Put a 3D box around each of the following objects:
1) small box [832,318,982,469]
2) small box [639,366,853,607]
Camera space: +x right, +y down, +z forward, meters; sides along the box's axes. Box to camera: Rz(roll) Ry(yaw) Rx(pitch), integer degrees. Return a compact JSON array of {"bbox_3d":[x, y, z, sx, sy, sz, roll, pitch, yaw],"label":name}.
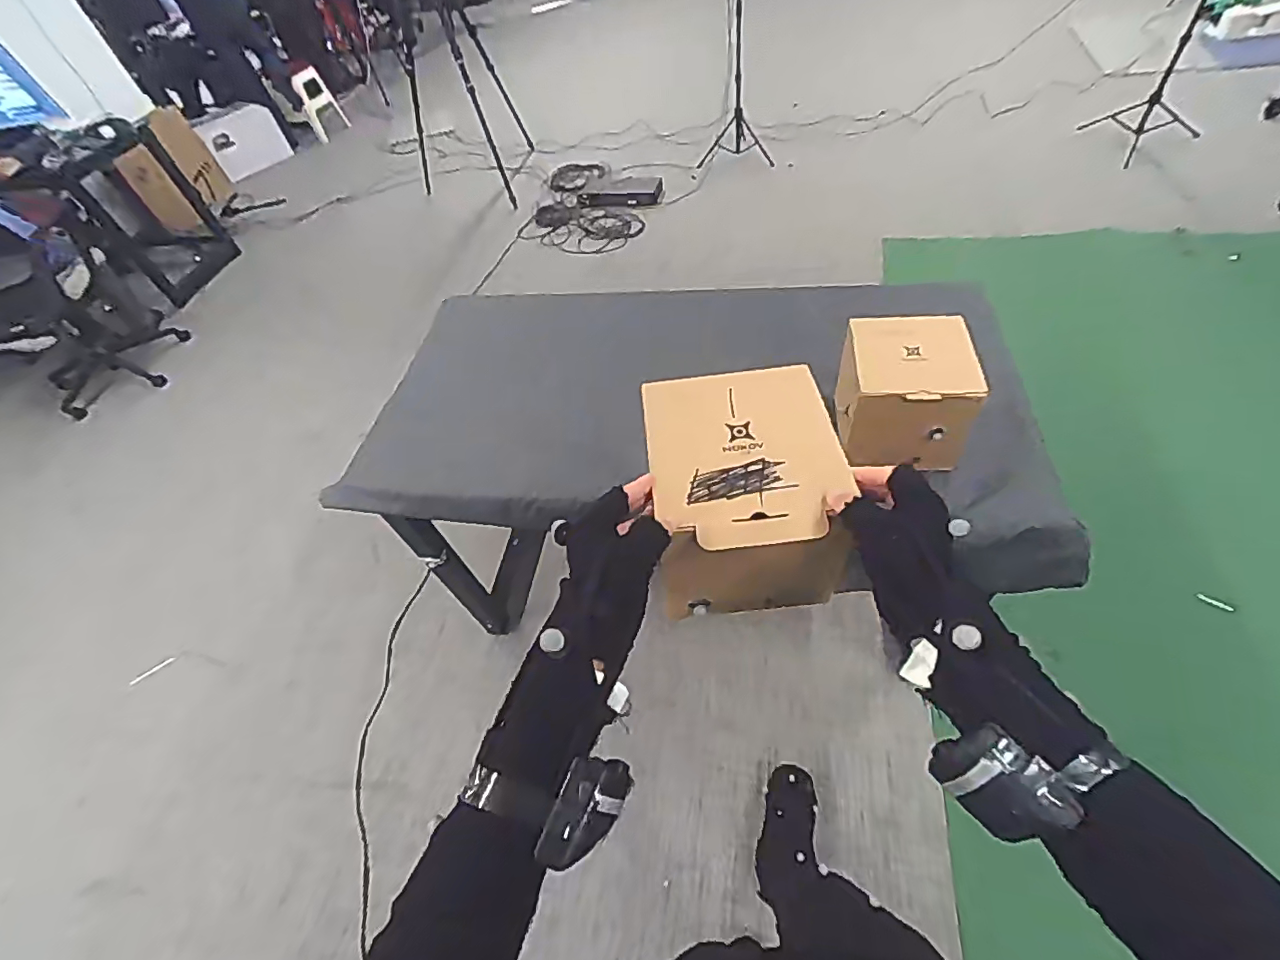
[{"bbox_3d":[0.404,-0.131,0.853,0.168,0.176,0.179,1,51,10],"label":"small box"},{"bbox_3d":[0.094,0.014,0.542,0.168,0.176,0.179,-7,51,2],"label":"small box"}]
